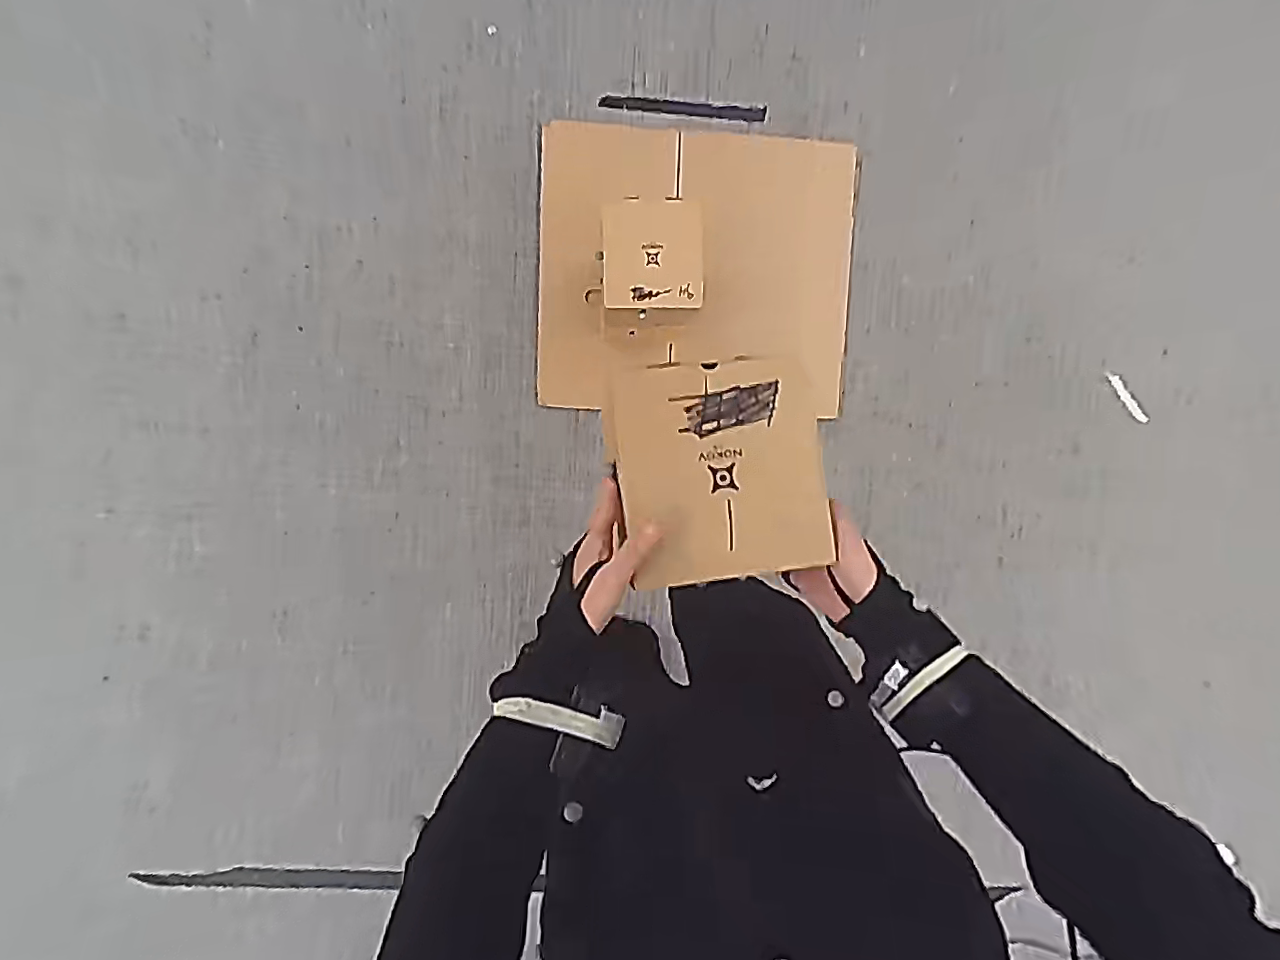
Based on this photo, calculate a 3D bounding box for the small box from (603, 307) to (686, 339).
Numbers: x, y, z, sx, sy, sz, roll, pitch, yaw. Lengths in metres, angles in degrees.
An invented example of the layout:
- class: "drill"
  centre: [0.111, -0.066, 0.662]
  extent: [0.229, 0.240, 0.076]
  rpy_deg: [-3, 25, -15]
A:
- class: "small box"
  centre: [0.007, -0.389, 1.115]
  extent: [0.168, 0.176, 0.179]
  rpy_deg: [0, 96, -4]

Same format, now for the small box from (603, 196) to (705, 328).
- class: "small box"
  centre: [0.018, -0.374, 0.952]
  extent: [0.168, 0.176, 0.179]
  rpy_deg: [-1, 96, -3]

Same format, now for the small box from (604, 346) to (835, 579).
- class: "small box"
  centre: [0.057, -0.009, 0.506]
  extent: [0.168, 0.176, 0.179]
  rpy_deg: [-6, 86, -6]
